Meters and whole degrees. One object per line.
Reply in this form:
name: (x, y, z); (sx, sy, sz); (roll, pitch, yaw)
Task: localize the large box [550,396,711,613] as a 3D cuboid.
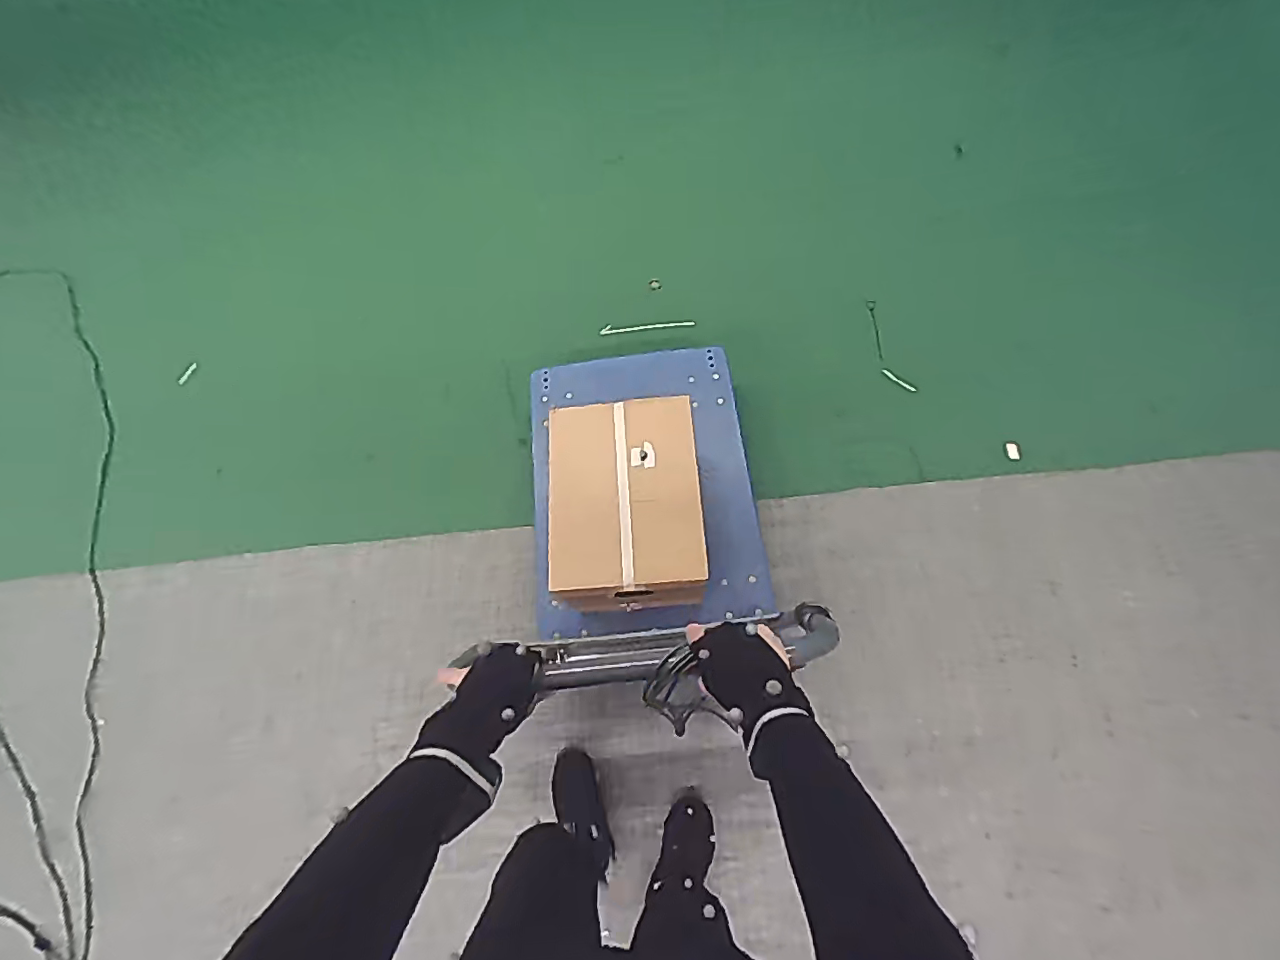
large box: (-0.017, 0.071, 1.237); (0.320, 0.320, 0.408); (-5, 68, 3)
